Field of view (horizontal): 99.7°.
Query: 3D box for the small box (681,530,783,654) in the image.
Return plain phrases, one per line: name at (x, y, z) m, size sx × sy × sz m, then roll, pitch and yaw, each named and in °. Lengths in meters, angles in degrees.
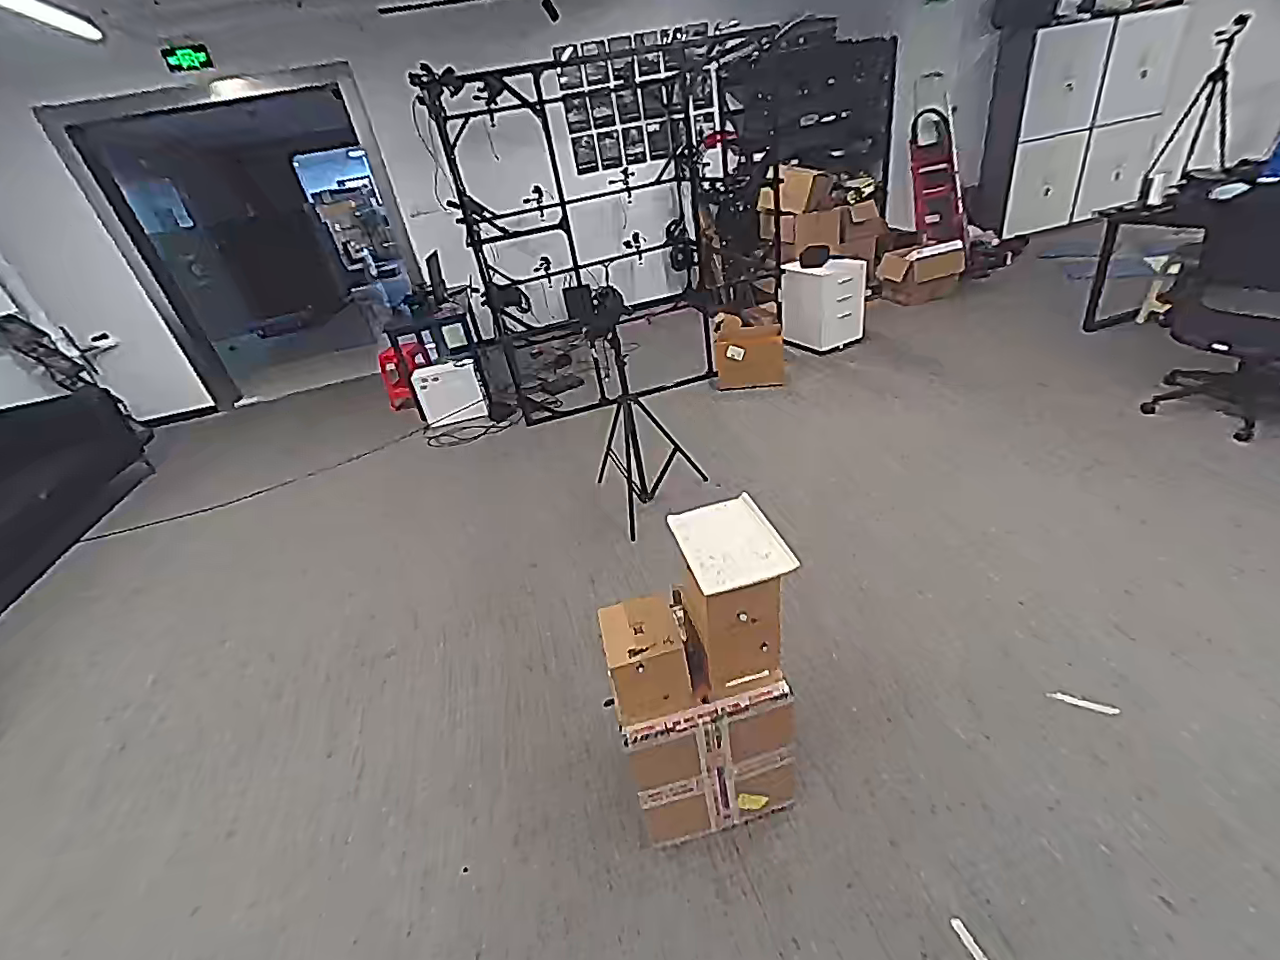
small box at (0.192, 0.238, 1.157) m, size 0.168 × 0.176 × 0.179 m, roll -13°, pitch 33°, yaw -8°
